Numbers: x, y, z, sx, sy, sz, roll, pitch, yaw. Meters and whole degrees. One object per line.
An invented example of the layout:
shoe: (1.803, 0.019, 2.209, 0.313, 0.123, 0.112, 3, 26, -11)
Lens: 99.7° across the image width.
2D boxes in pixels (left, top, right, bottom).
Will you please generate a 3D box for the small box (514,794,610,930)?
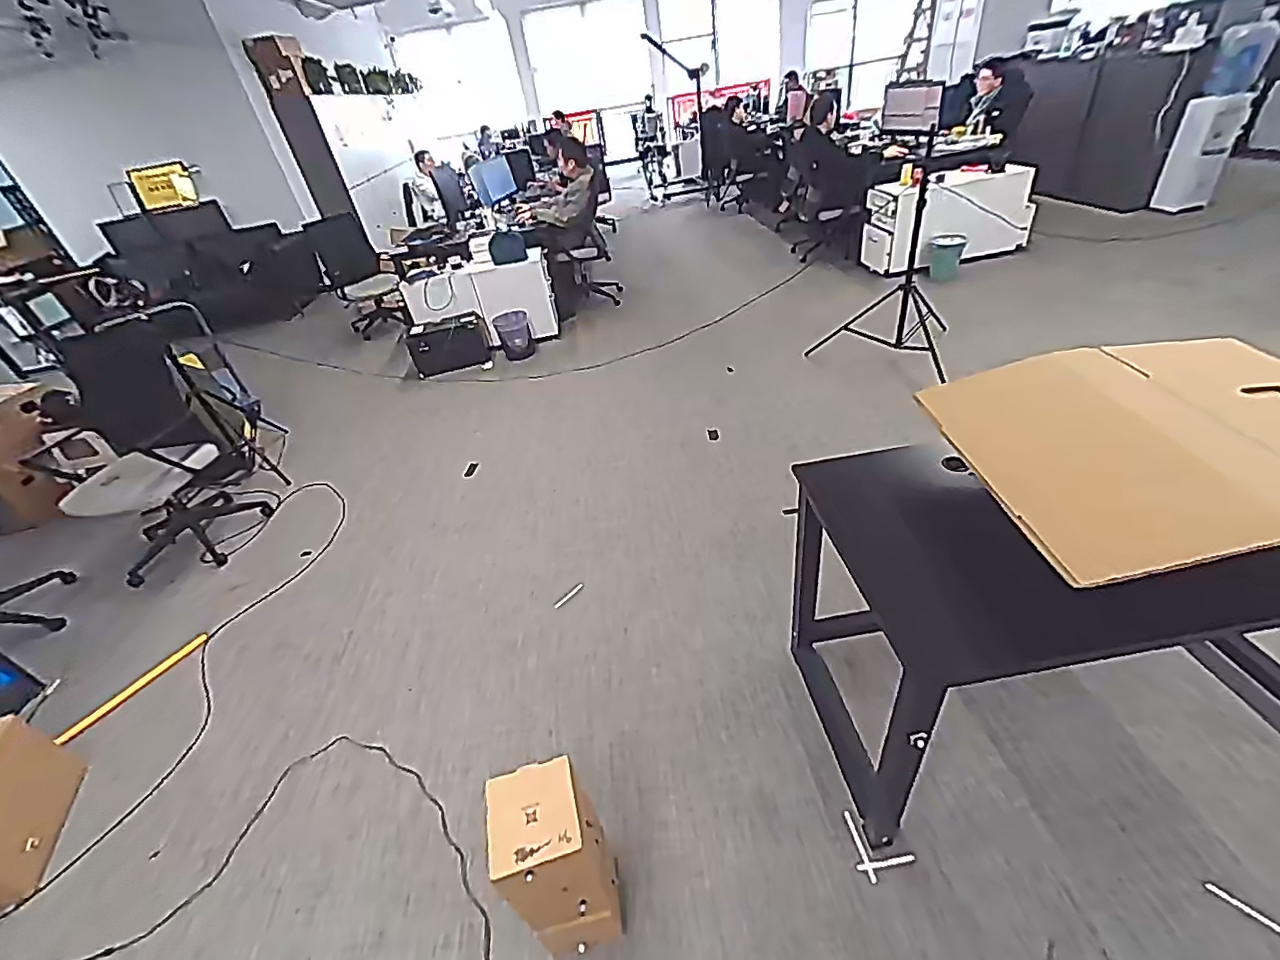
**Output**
small box: (-0.167, 0.812, 1.143, 0.168, 0.176, 0.179, -14, 35, -6)

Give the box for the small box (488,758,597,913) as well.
small box: (-0.188, 0.683, 1.043, 0.168, 0.176, 0.179, -15, 36, -8)

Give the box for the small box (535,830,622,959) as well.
small box: (-0.141, 0.944, 1.234, 0.168, 0.176, 0.179, -13, 37, -3)
